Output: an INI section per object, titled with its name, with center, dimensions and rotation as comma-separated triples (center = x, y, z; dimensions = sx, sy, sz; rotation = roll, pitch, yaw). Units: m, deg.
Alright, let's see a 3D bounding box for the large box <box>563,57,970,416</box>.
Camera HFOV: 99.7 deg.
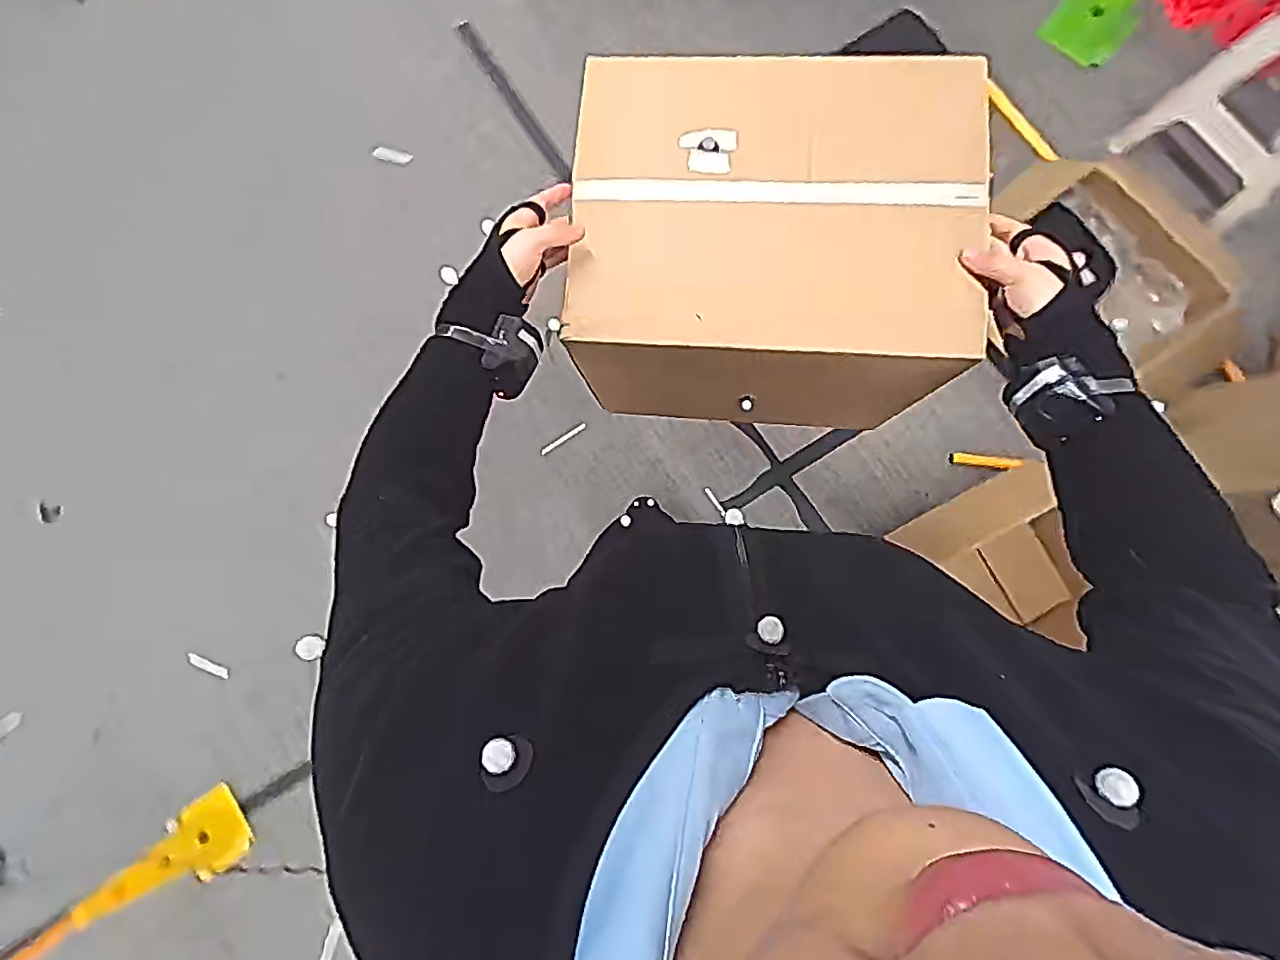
[large box]
center = 0.139, -0.264, 0.695
dimensions = 0.408, 0.320, 0.320
rotation = 2, 83, 6
